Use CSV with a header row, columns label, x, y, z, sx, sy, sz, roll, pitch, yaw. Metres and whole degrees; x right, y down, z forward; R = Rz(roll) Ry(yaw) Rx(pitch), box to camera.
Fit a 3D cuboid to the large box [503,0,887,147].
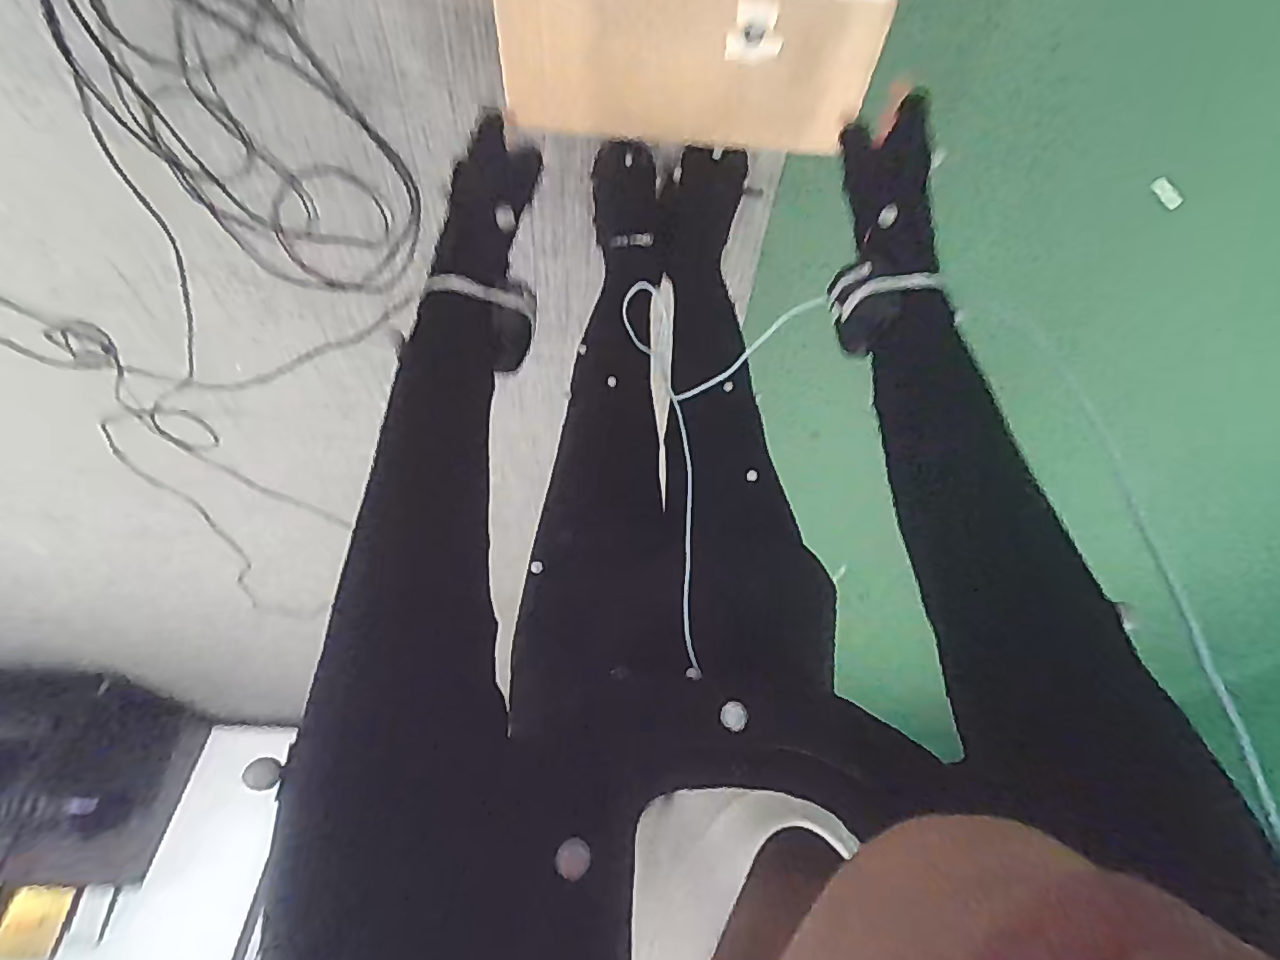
label,x,y,z,sx,sy,sz,roll,pitch,yaw
large box,0.057,-0.625,0.628,0.408,0.320,0.320,3,142,-3
